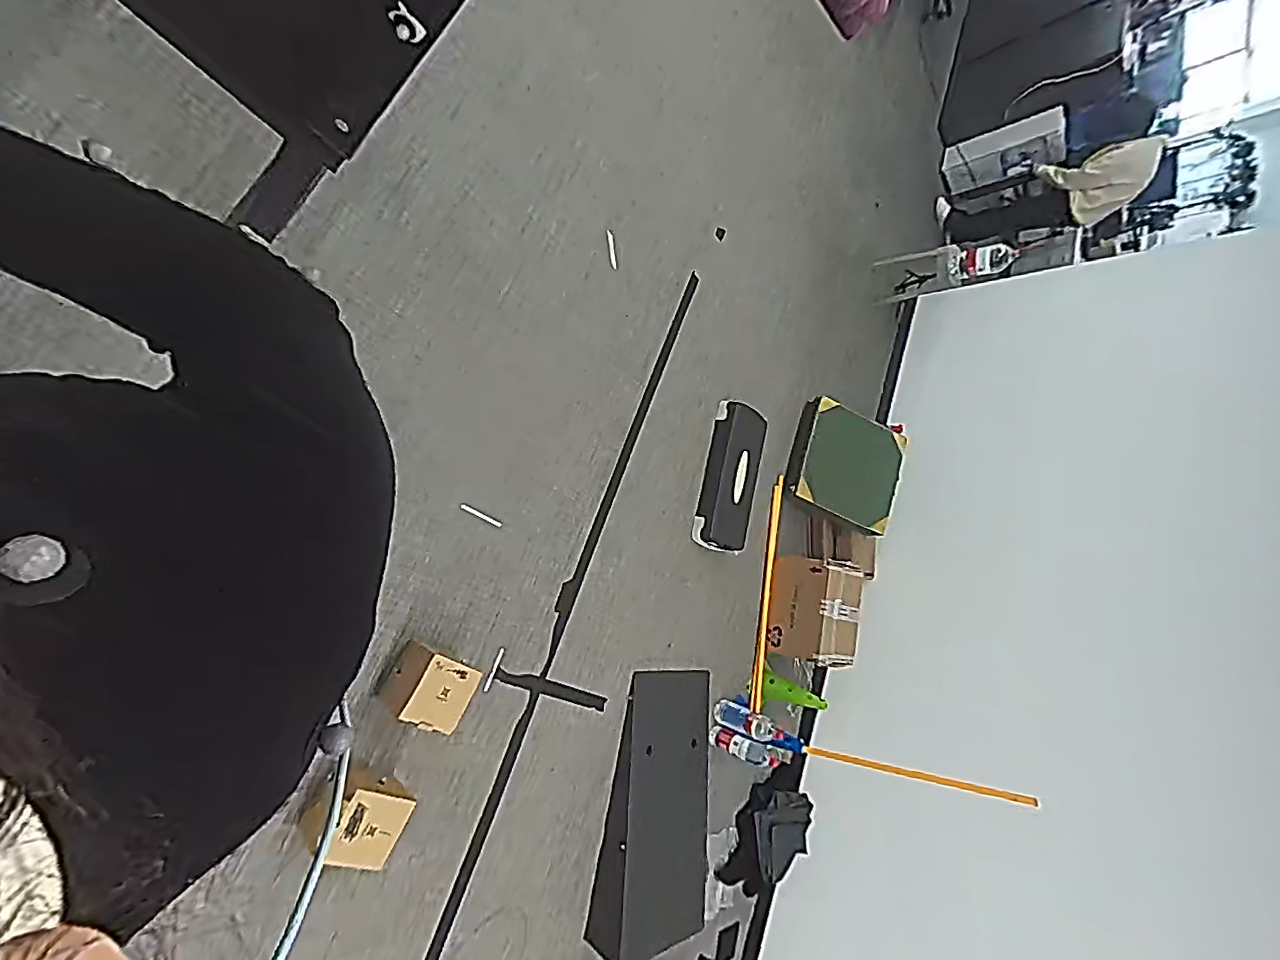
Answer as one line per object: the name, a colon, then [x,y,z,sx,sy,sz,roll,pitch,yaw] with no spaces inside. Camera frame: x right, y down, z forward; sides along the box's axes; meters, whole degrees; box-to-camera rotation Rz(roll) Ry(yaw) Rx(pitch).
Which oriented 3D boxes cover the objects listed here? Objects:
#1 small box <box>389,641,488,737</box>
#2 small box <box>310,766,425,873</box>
small box: [-0.559,0.567,1.480,0.168,0.176,0.179,42,64,-37]
small box: [-0.691,0.850,1.364,0.179,0.176,0.168,43,63,-37]
